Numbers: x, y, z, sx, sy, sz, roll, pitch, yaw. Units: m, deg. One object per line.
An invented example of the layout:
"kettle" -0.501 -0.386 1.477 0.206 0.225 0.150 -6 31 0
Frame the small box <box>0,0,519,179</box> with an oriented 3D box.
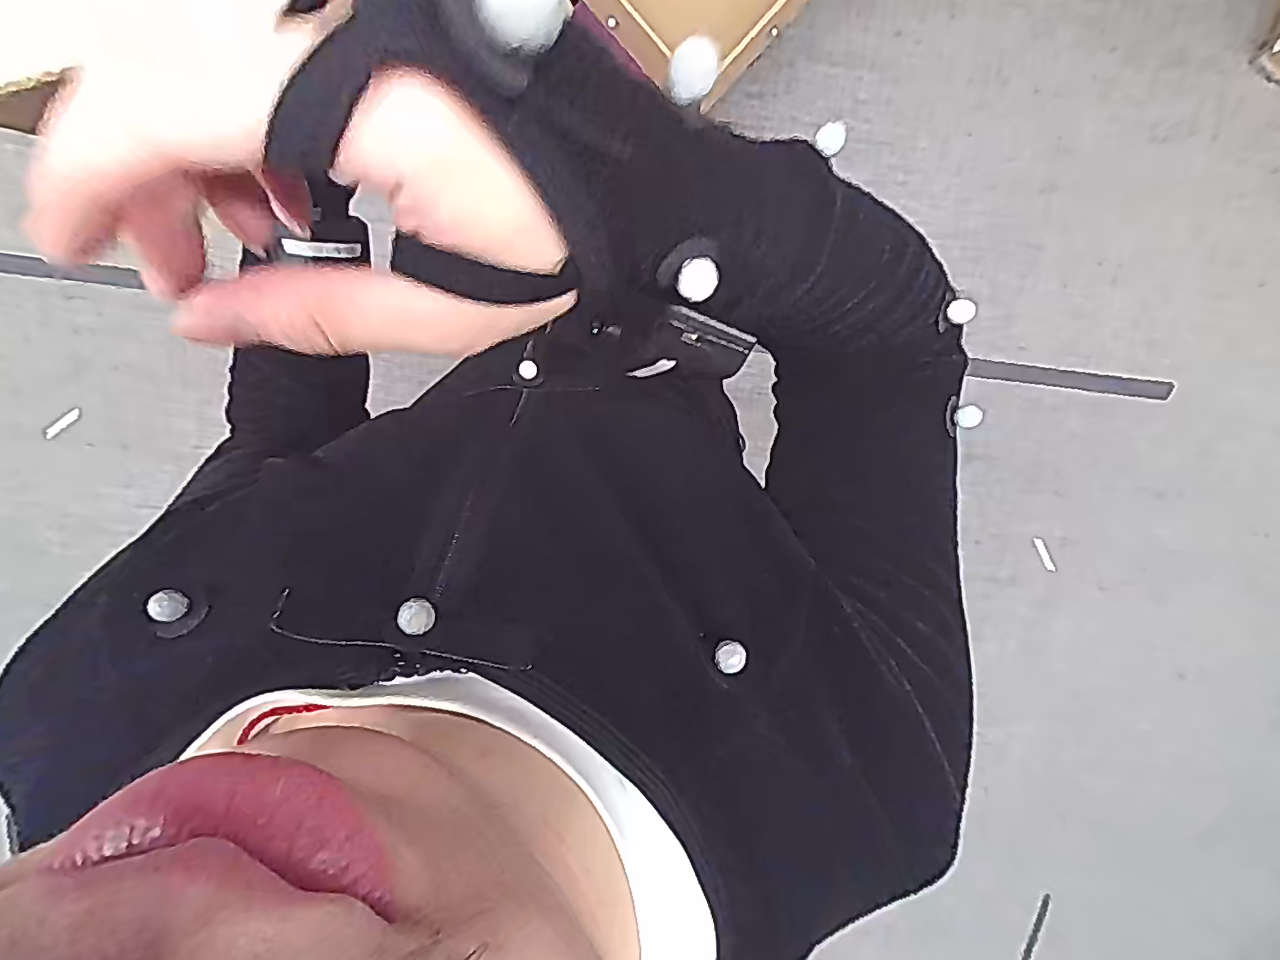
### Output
"small box" -0.159 -0.243 0.215 0.168 0.176 0.179 -12 112 2
